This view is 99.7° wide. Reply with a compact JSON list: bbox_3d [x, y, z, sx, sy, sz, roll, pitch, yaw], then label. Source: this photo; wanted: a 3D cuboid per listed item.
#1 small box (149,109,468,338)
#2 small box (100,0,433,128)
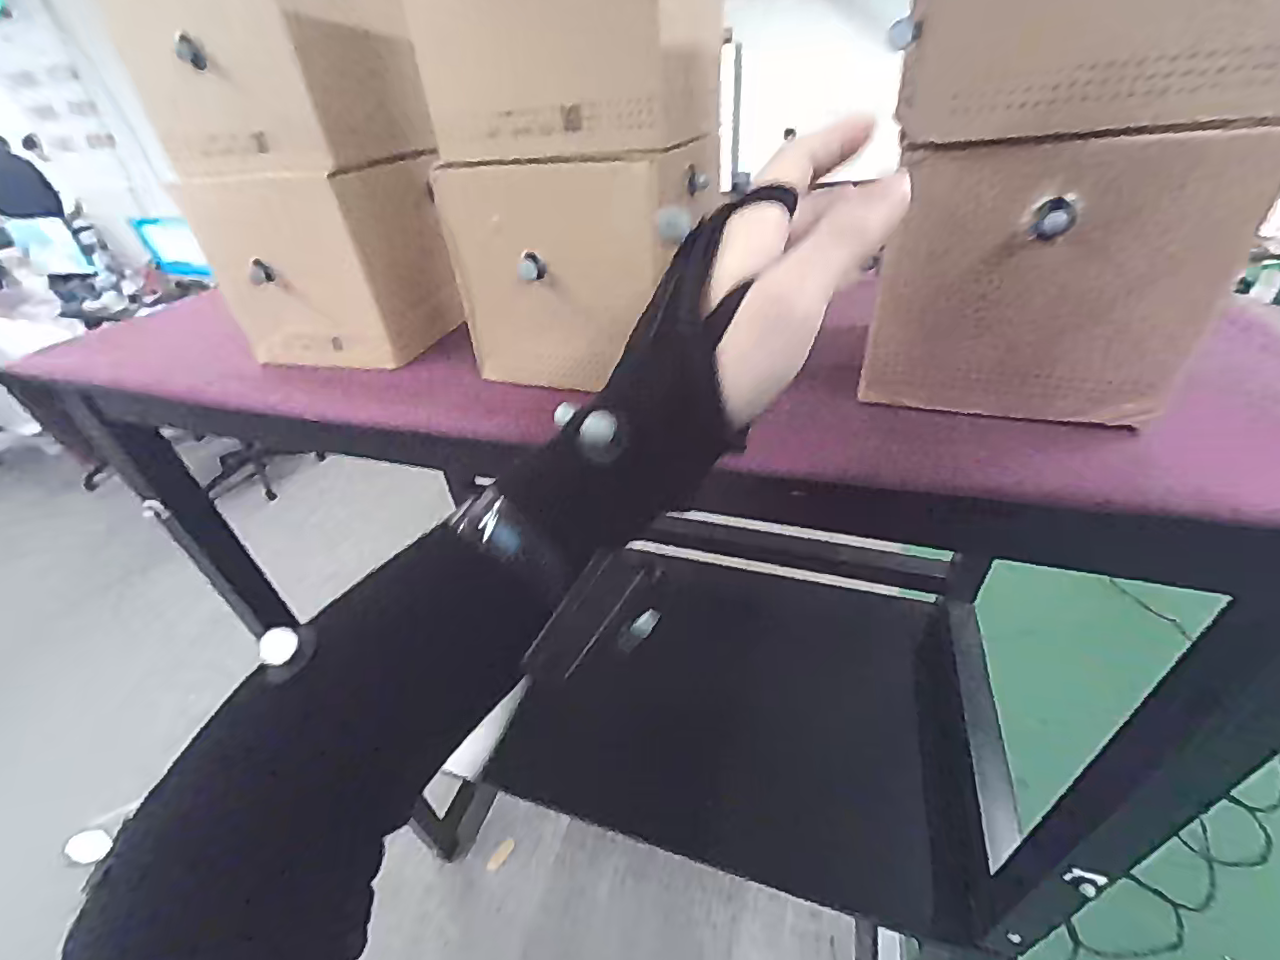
[{"bbox_3d":[-0.290,-0.248,0.524,0.168,0.176,0.179,7,38,14],"label":"small box"},{"bbox_3d":[-0.297,-0.388,0.437,0.168,0.176,0.179,8,38,14],"label":"small box"}]
